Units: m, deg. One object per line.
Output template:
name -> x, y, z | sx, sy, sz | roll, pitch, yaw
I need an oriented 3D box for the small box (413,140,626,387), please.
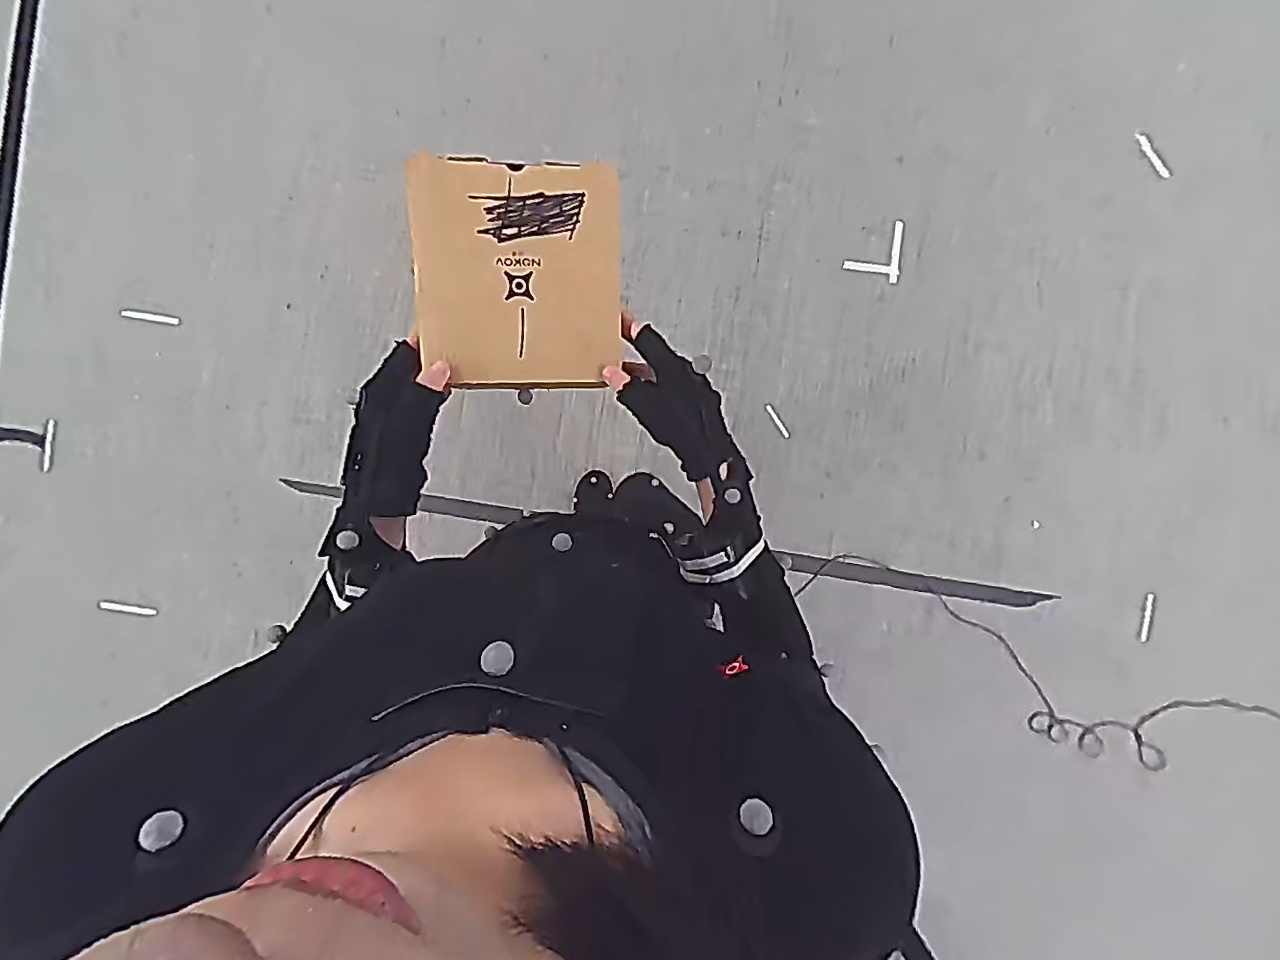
small box -> -0.105, -0.182, 0.508 | 0.168, 0.176, 0.179 | -1, 98, -9
